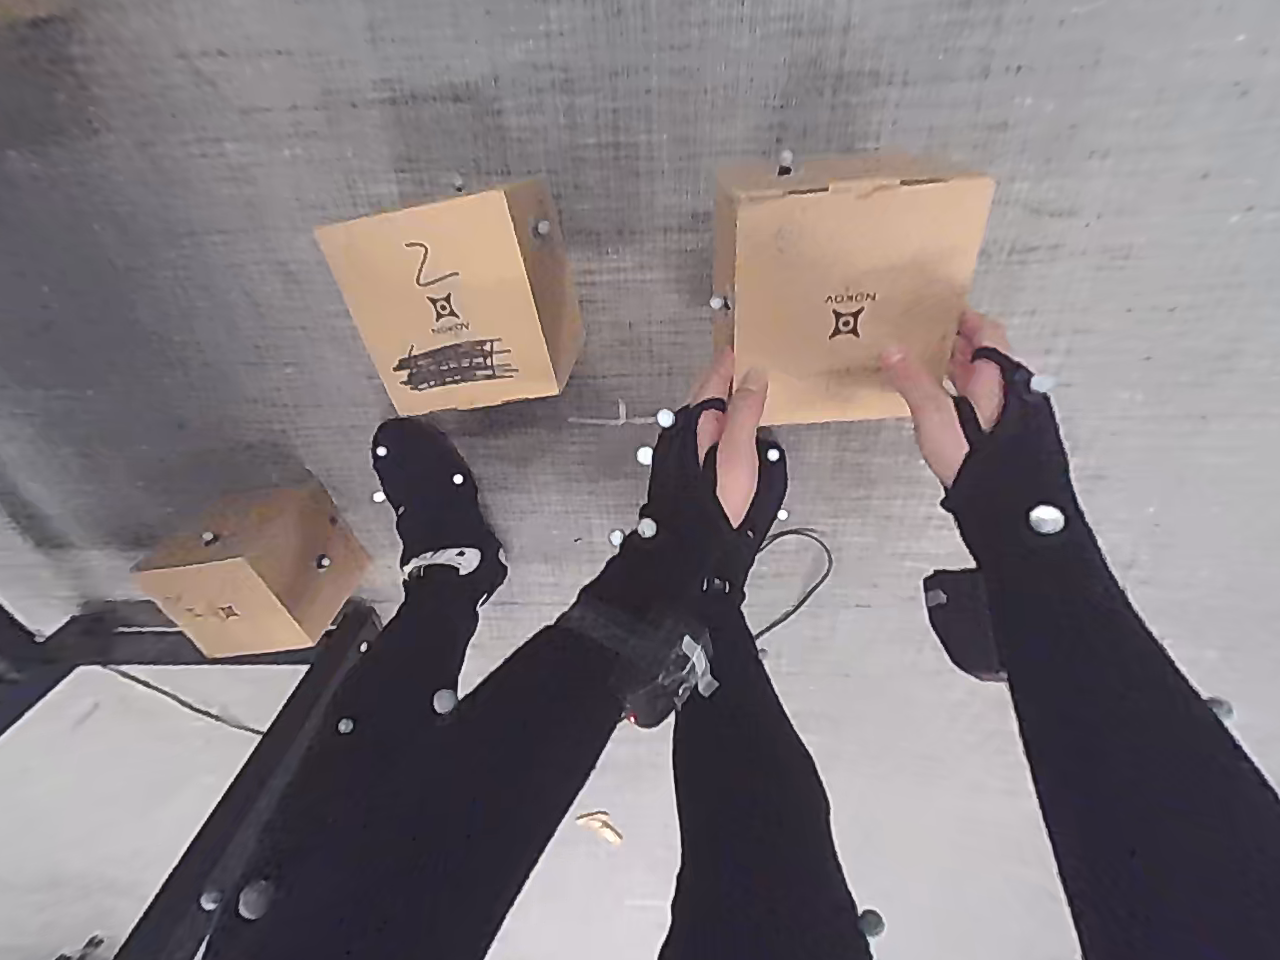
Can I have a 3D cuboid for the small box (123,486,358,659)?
[{"bbox_3d":[-0.530,0.124,0.756,0.179,0.176,0.168,-8,122,9],"label":"small box"}]
